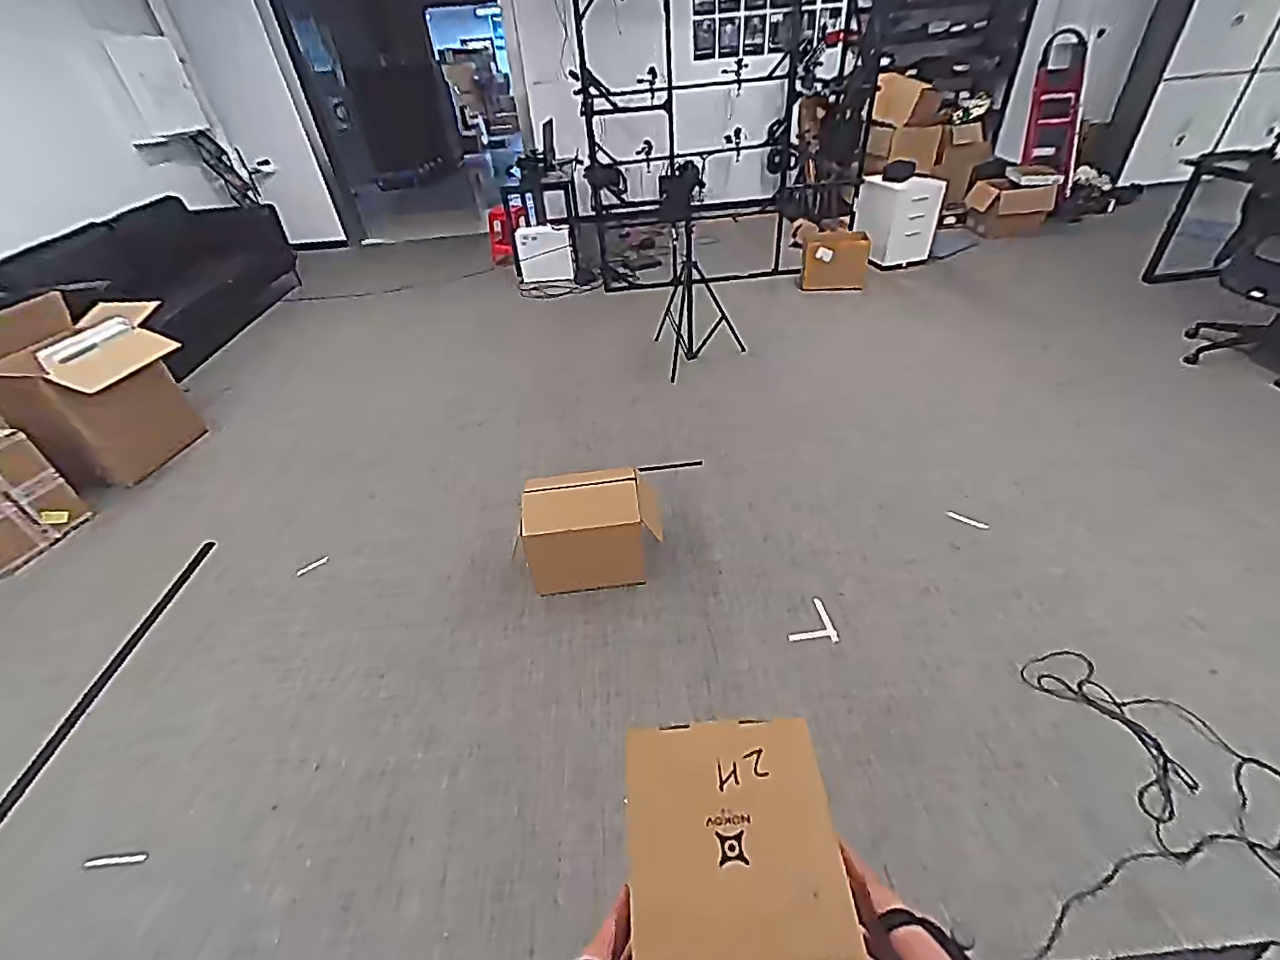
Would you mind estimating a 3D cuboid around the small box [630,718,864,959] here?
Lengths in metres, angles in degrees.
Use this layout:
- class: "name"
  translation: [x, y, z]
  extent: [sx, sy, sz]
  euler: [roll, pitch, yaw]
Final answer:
- class: "small box"
  translation: [0.078, 0.341, 0.493]
  extent: [0.168, 0.176, 0.179]
  euler: [-3, 44, -1]
